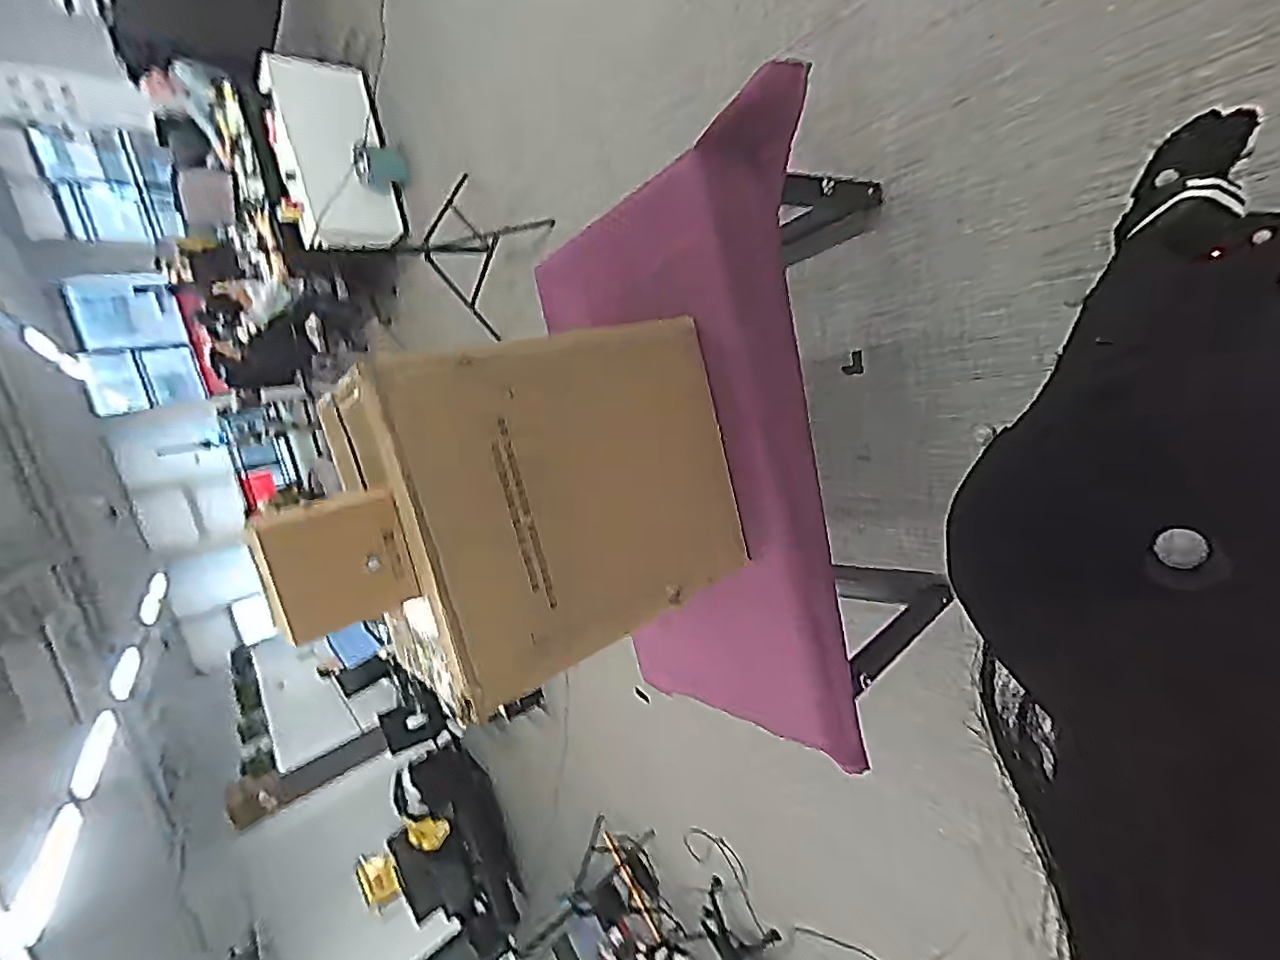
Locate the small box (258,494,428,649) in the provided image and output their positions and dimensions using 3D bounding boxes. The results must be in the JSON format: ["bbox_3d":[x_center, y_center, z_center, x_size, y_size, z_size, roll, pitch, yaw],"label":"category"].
[{"bbox_3d":[-0.440,0.123,0.805,0.179,0.176,0.168,-1,105,50],"label":"small box"}]
